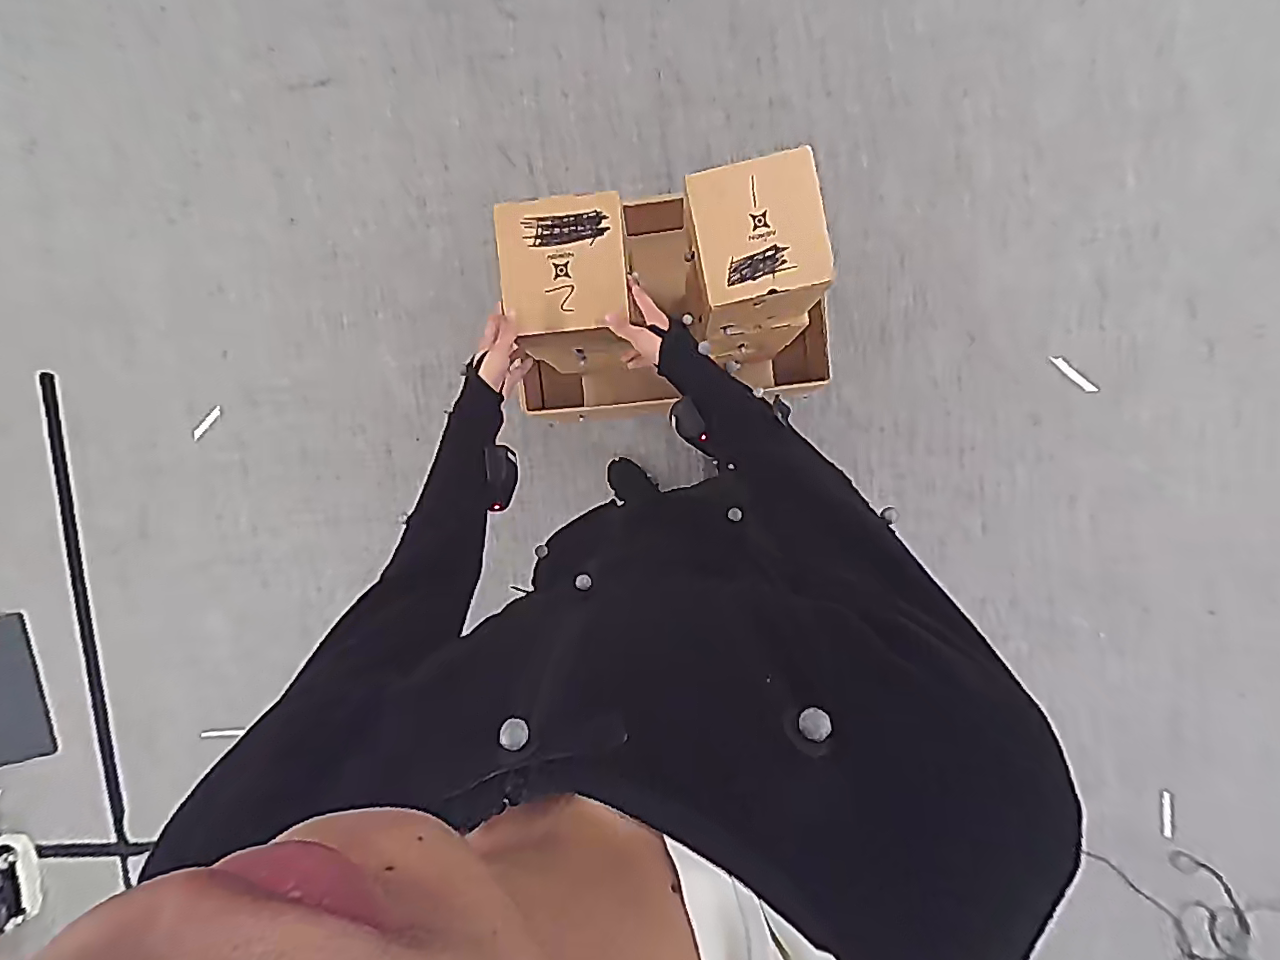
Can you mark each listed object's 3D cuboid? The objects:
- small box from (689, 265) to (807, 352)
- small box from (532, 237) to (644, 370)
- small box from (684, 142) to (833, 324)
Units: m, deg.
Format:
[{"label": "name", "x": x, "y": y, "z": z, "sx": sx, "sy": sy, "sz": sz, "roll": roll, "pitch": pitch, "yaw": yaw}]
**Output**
[{"label": "small box", "x": 0.178, "y": -0.332, "z": 0.934, "sx": 0.168, "sy": 0.176, "sz": 0.179, "roll": -8, "pitch": 94, "yaw": 5}, {"label": "small box", "x": -0.084, "y": -0.301, "z": 0.953, "sx": 0.168, "sy": 0.176, "sz": 0.179, "roll": -5, "pitch": 92, "yaw": 5}, {"label": "small box", "x": 0.158, "y": -0.332, "z": 0.770, "sx": 0.168, "sy": 0.176, "sz": 0.179, "roll": -11, "pitch": 93, "yaw": 5}]
